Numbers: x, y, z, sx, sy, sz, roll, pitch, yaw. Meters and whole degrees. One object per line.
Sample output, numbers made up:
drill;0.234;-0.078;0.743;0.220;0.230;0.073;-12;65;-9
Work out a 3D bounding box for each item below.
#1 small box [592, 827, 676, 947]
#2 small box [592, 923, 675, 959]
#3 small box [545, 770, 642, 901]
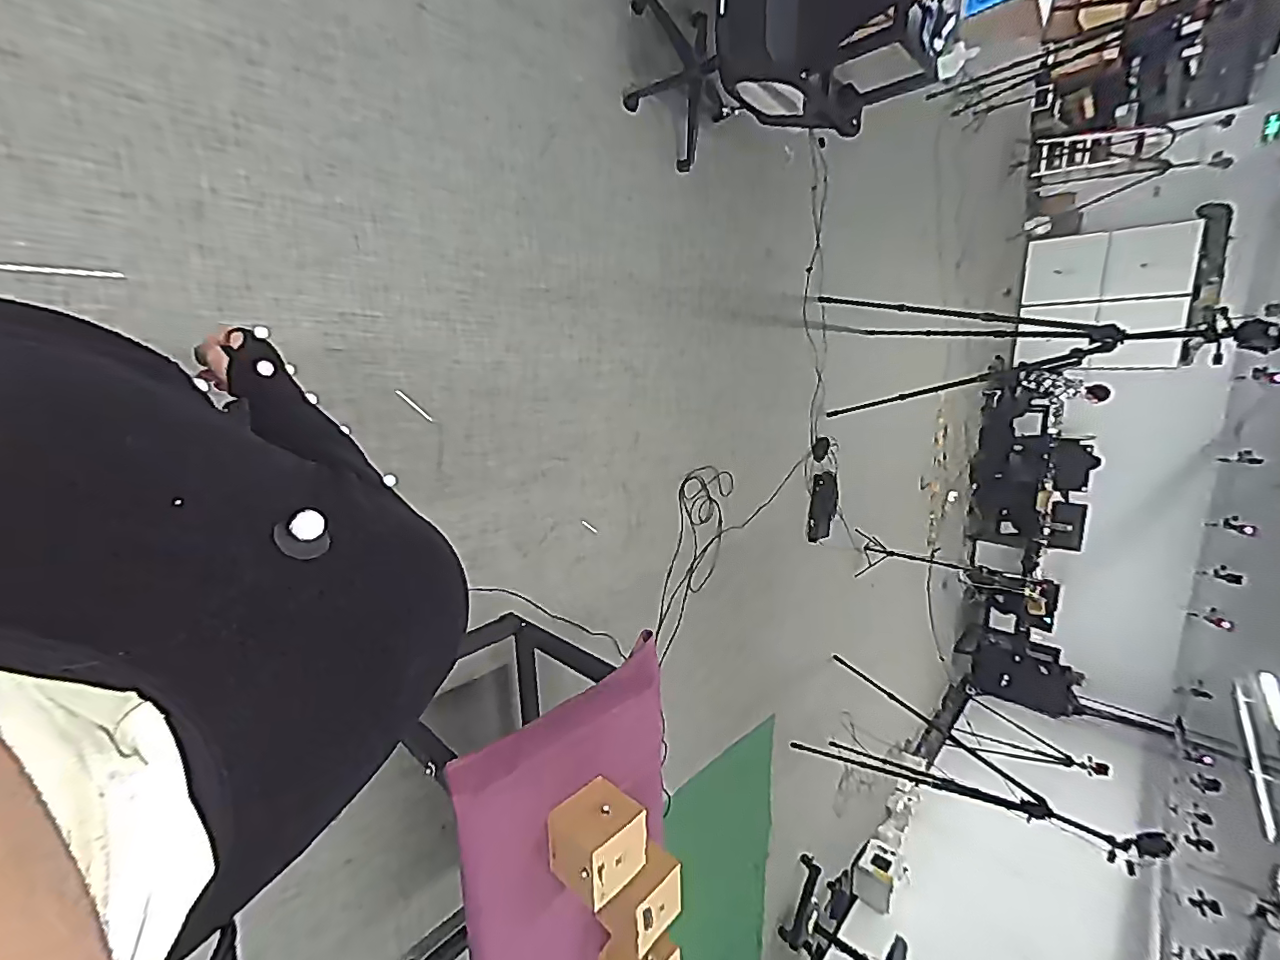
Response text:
small box;-0.020;1.097;1.483;0.179;0.176;0.168;-15;109;-46
small box;-0.017;1.375;1.544;0.179;0.176;0.168;-15;108;-44
small box;-0.114;0.860;1.332;0.179;0.176;0.168;-13;108;-46
